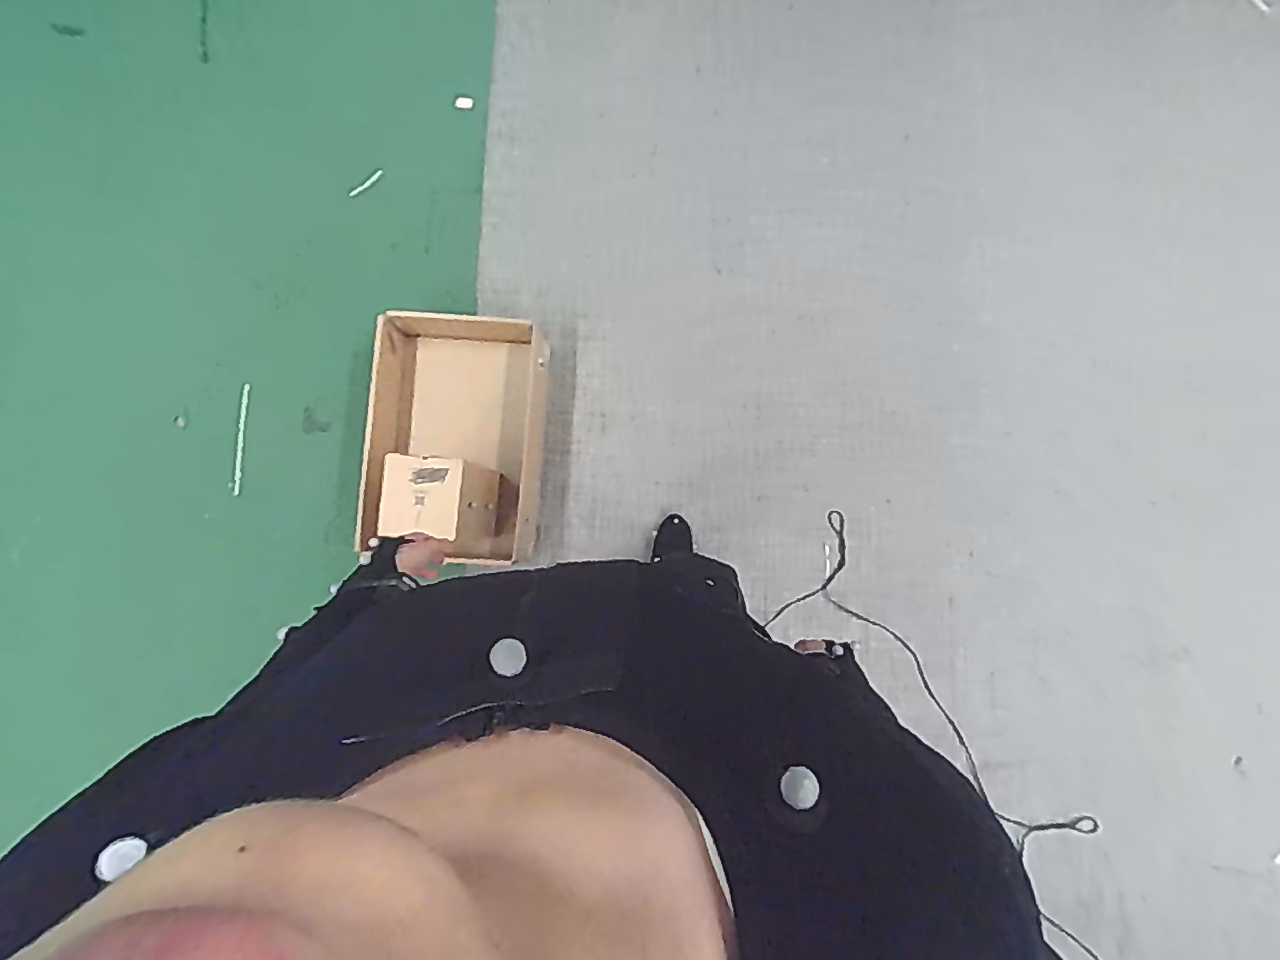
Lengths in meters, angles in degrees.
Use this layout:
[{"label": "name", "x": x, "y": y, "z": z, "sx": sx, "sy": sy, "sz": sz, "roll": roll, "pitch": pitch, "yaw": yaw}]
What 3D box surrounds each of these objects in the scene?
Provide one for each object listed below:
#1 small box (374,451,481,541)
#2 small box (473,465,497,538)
[{"label": "small box", "x": -0.458, "y": 0.040, "z": 1.191, "sx": 0.168, "sy": 0.176, "sz": 0.179, "roll": 4, "pitch": 85, "yaw": 0}, {"label": "small box", "x": -0.463, "y": 0.054, "z": 1.355, "sx": 0.168, "sy": 0.176, "sz": 0.179, "roll": 3, "pitch": 84, "yaw": -1}]
